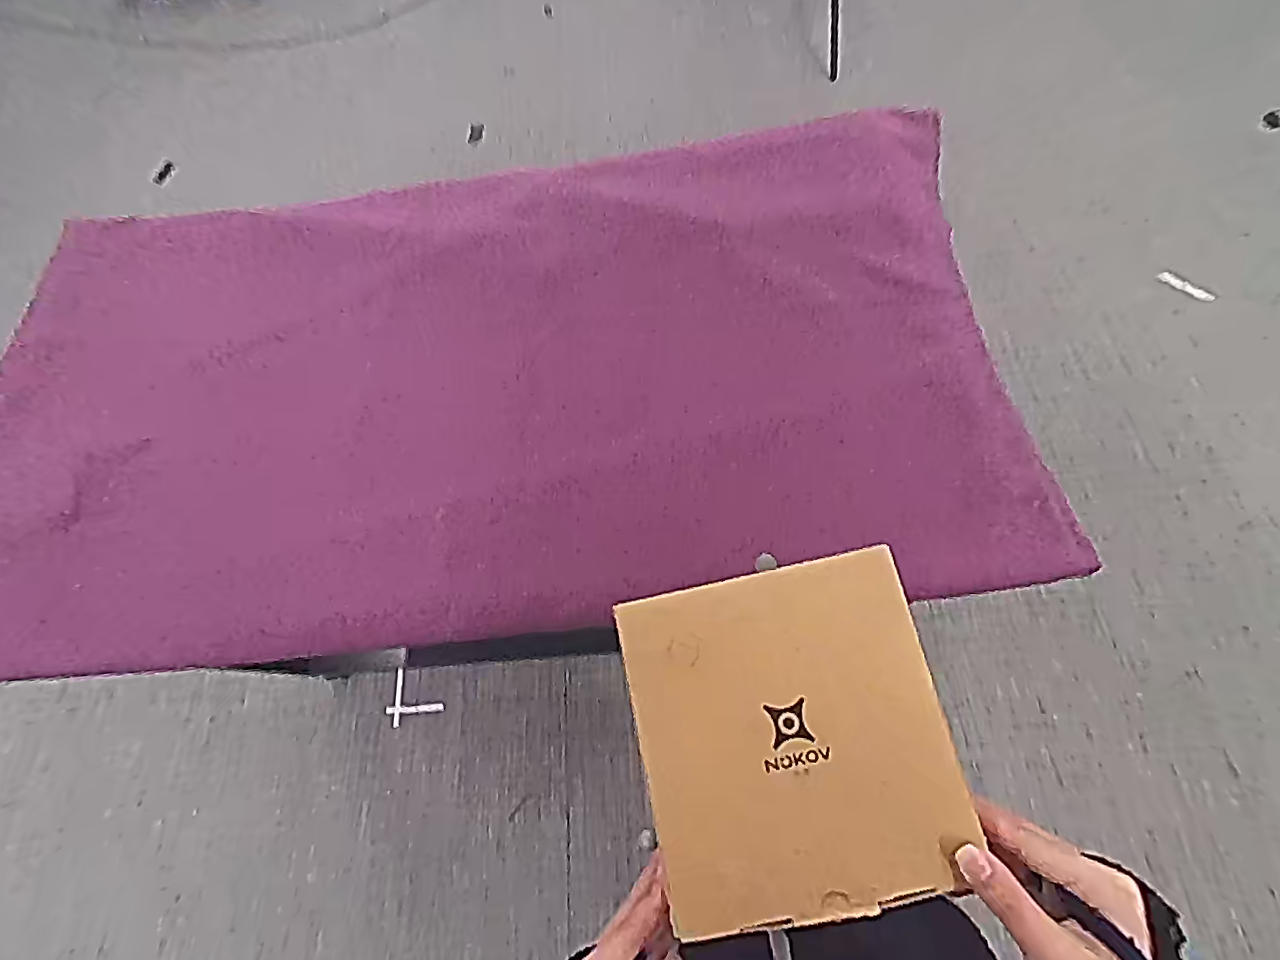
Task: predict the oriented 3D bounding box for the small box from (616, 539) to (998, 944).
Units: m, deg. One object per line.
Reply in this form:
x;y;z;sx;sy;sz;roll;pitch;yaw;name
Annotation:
0.086;0.151;0.366;0.168;0.176;0.179;-13;77;2;small box
